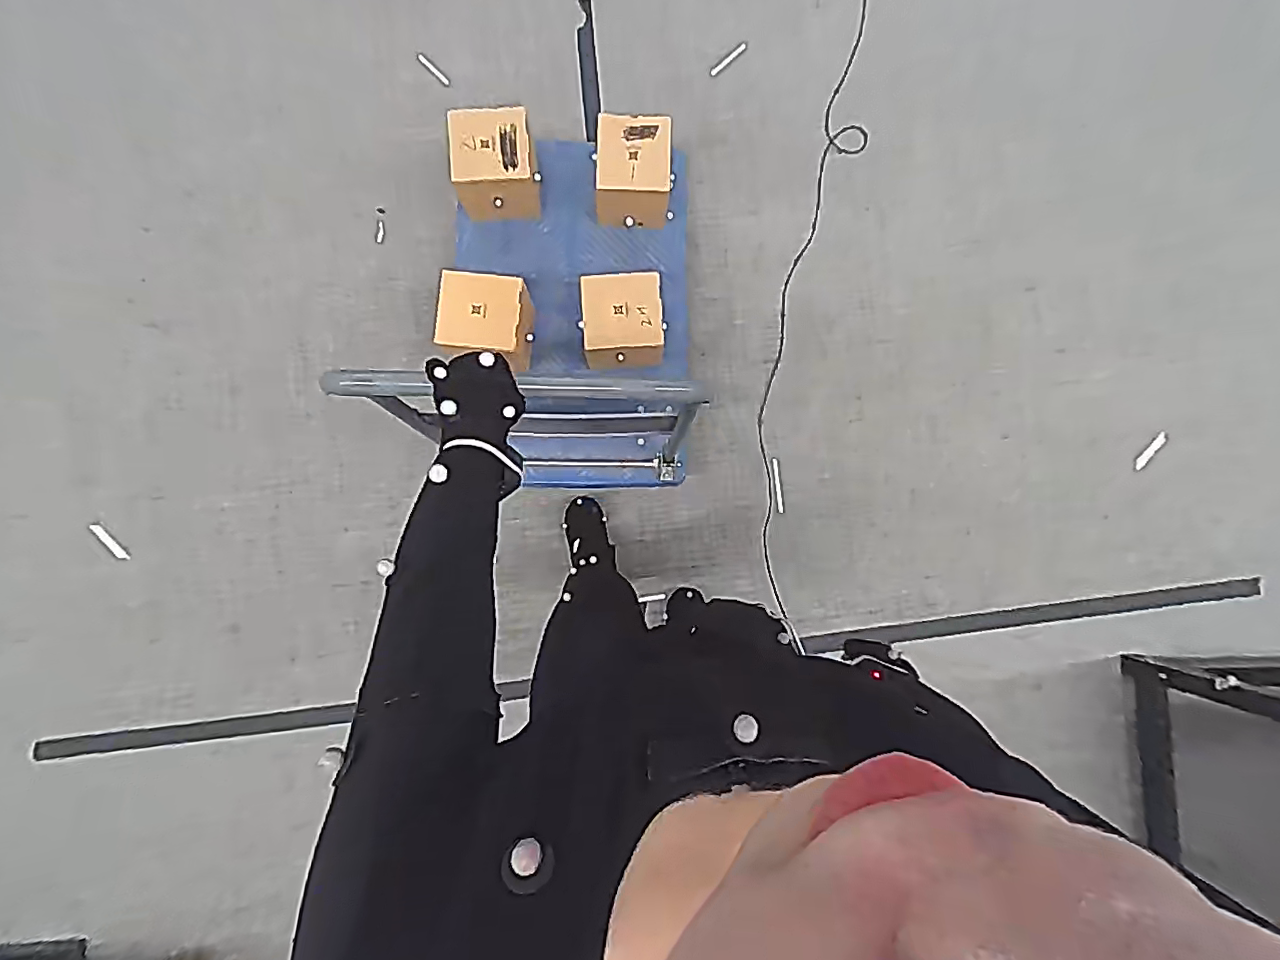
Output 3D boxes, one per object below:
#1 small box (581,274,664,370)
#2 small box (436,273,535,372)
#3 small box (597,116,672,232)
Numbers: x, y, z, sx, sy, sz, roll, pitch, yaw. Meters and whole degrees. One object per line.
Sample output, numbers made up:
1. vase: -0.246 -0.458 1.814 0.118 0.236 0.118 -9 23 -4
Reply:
1. small box: -0.038 -0.359 1.254 0.179 0.176 0.168 -4 86 -2
2. small box: -0.348 -0.355 1.247 0.179 0.176 0.168 5 85 -3
3. small box: -0.015 -0.718 1.281 0.168 0.176 0.179 1 87 -1
